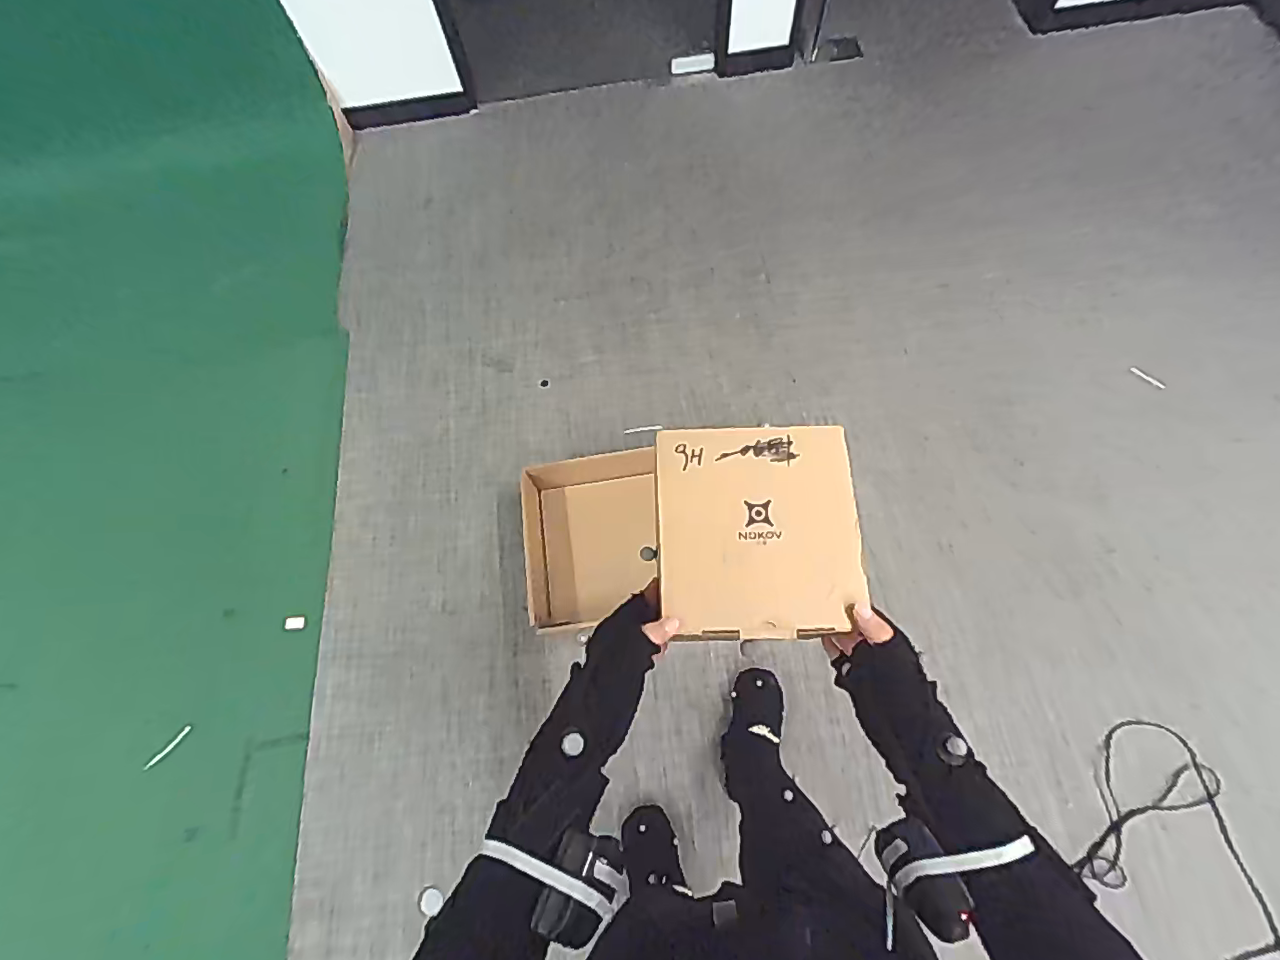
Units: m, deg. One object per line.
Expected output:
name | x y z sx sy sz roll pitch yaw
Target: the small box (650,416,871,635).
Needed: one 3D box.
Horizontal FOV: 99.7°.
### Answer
small box | 0.100 0.056 0.525 0.168 0.176 0.179 -5 72 1
